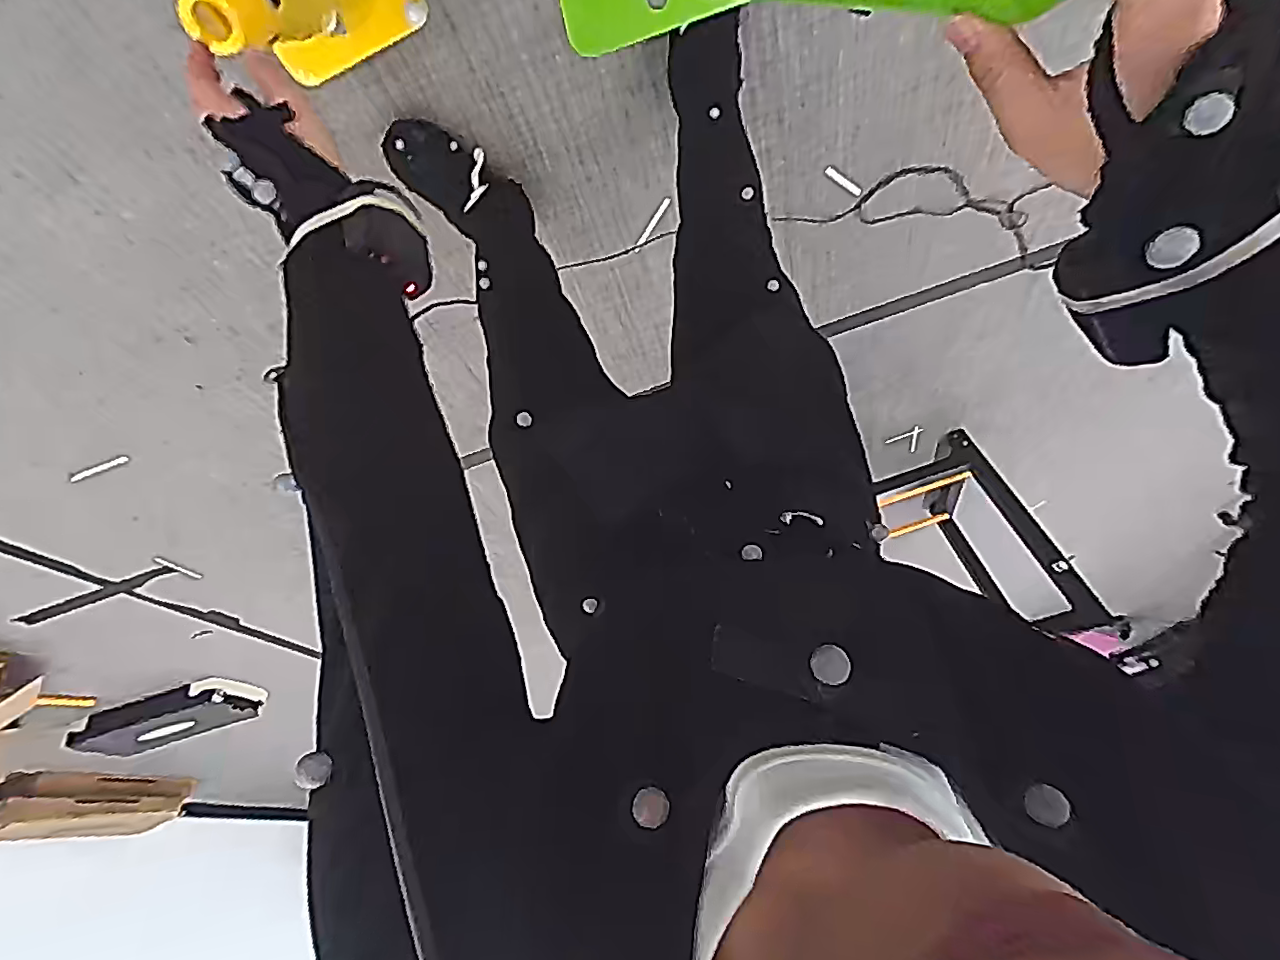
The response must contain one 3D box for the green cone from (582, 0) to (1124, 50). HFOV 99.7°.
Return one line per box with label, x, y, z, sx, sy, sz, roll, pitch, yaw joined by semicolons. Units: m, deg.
green cone;0.096;-0.314;0.282;0.200;0.368;0.202;-22;147;-4
